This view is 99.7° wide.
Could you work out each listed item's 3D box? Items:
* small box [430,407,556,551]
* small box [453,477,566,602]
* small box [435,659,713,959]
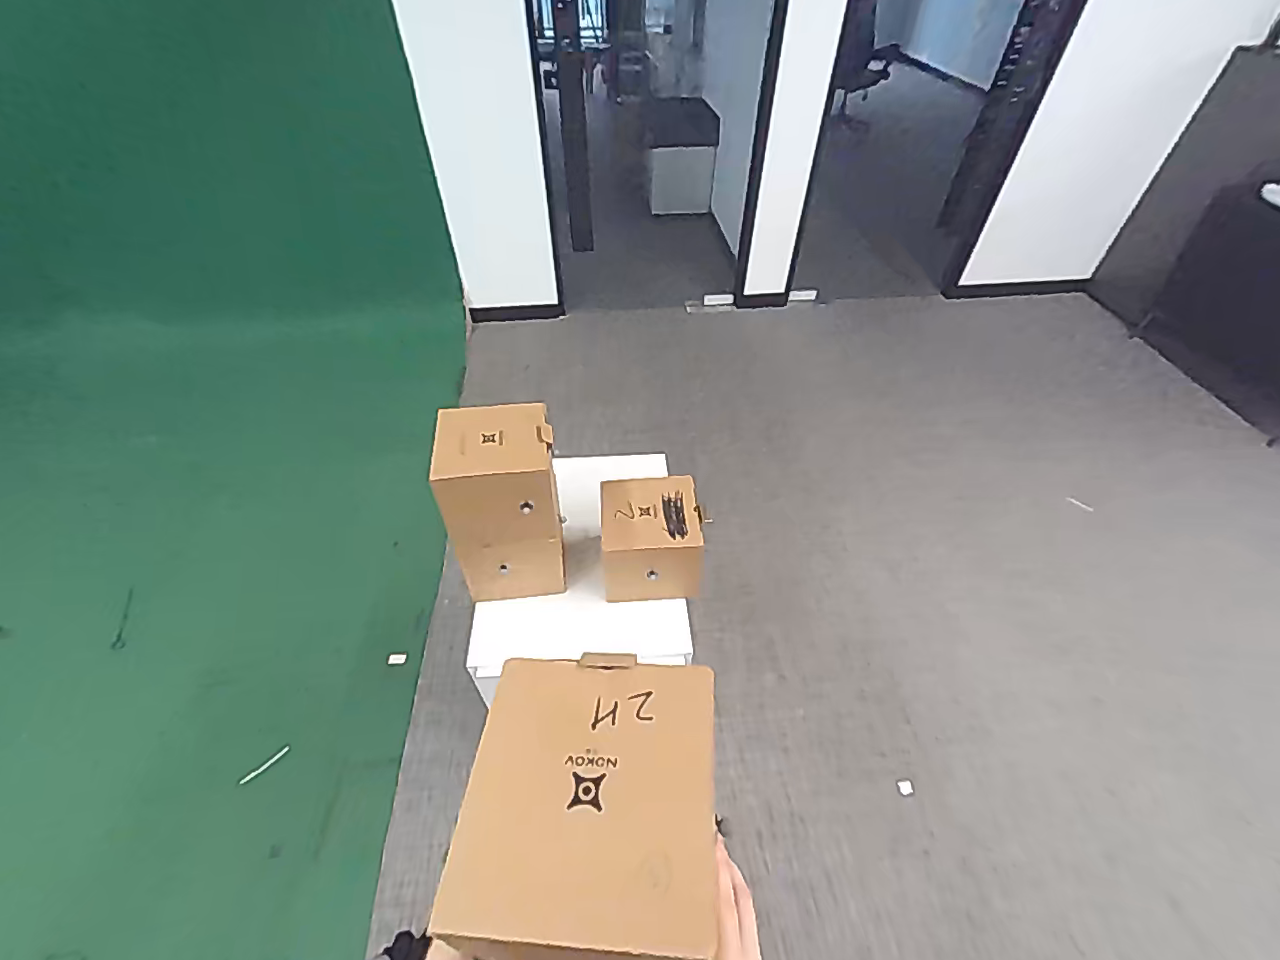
[{"bbox_3d":[-0.233,0.000,0.899,0.179,0.176,0.168,-6,46,-8],"label":"small box"},{"bbox_3d":[-0.237,0.114,1.015,0.179,0.176,0.168,-5,47,-7],"label":"small box"},{"bbox_3d":[-0.028,0.264,0.419,0.168,0.176,0.179,2,41,5],"label":"small box"}]
